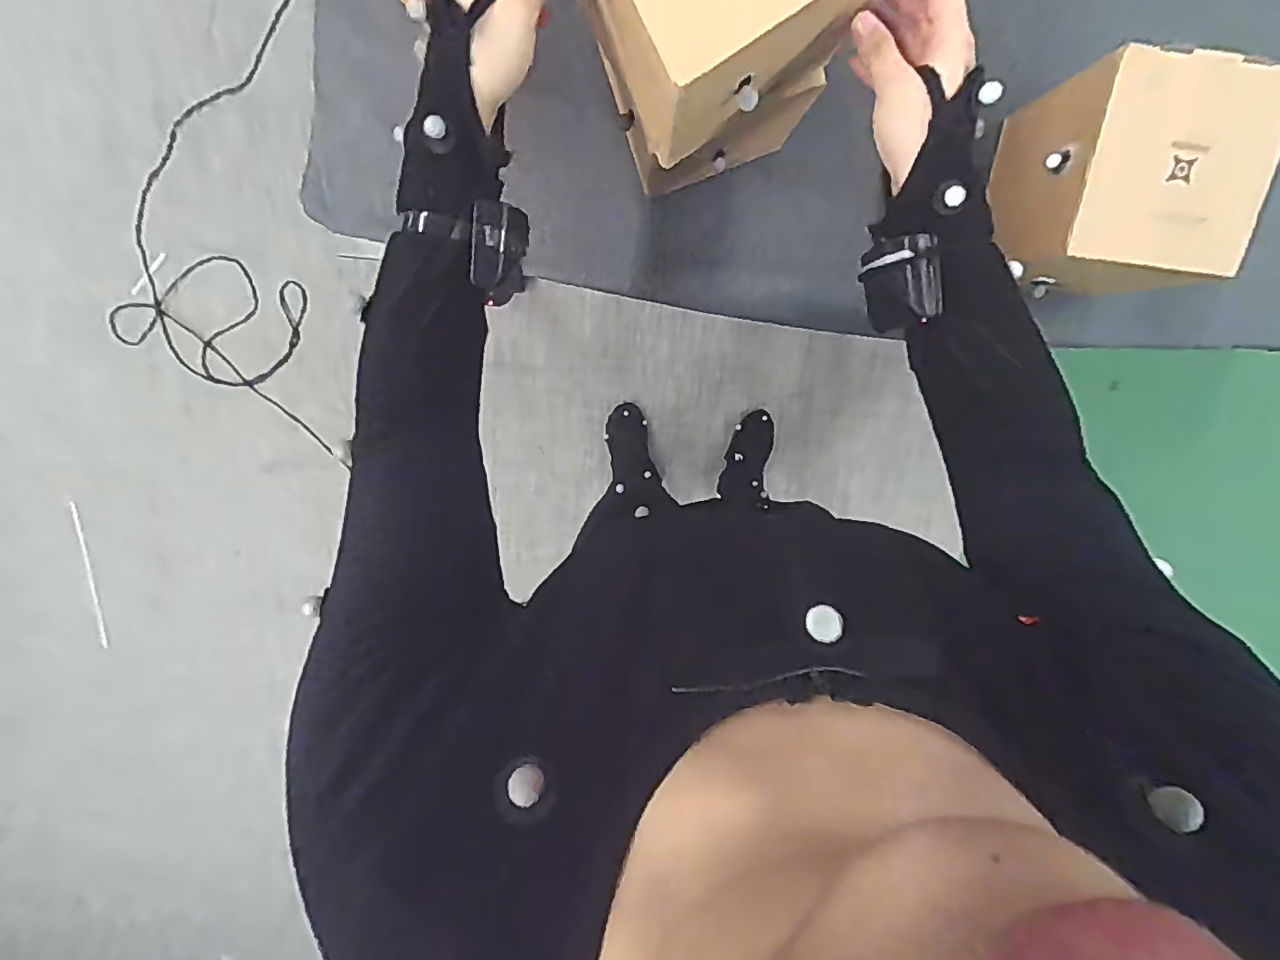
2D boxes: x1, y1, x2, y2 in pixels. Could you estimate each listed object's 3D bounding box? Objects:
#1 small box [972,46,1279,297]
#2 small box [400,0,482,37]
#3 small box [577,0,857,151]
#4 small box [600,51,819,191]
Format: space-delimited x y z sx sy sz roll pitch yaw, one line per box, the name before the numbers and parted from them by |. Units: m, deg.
small box | 0.486 -0.298 0.563 0.168 0.176 0.179 7 104 0
small box | -0.224 -0.580 0.501 0.168 0.176 0.179 -43 100 11
small box | 0.048 -0.369 0.383 0.168 0.176 0.179 -29 102 7
small box | 0.056 -0.414 0.539 0.168 0.176 0.179 -19 103 5
